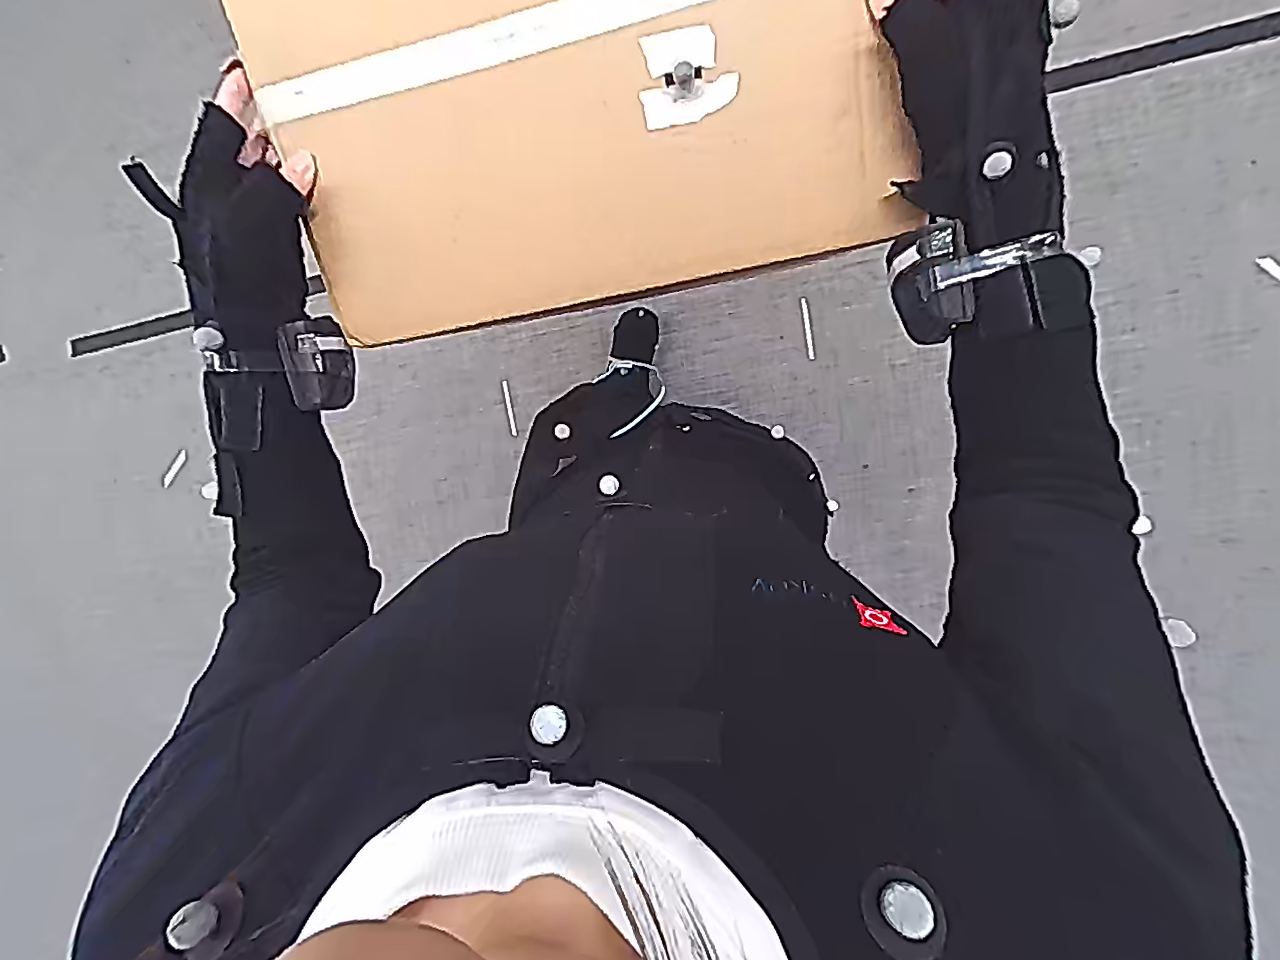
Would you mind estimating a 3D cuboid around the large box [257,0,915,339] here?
[{"bbox_3d":[-0.031,-0.329,0.479,0.408,0.320,0.320,-9,109,8],"label":"large box"}]
